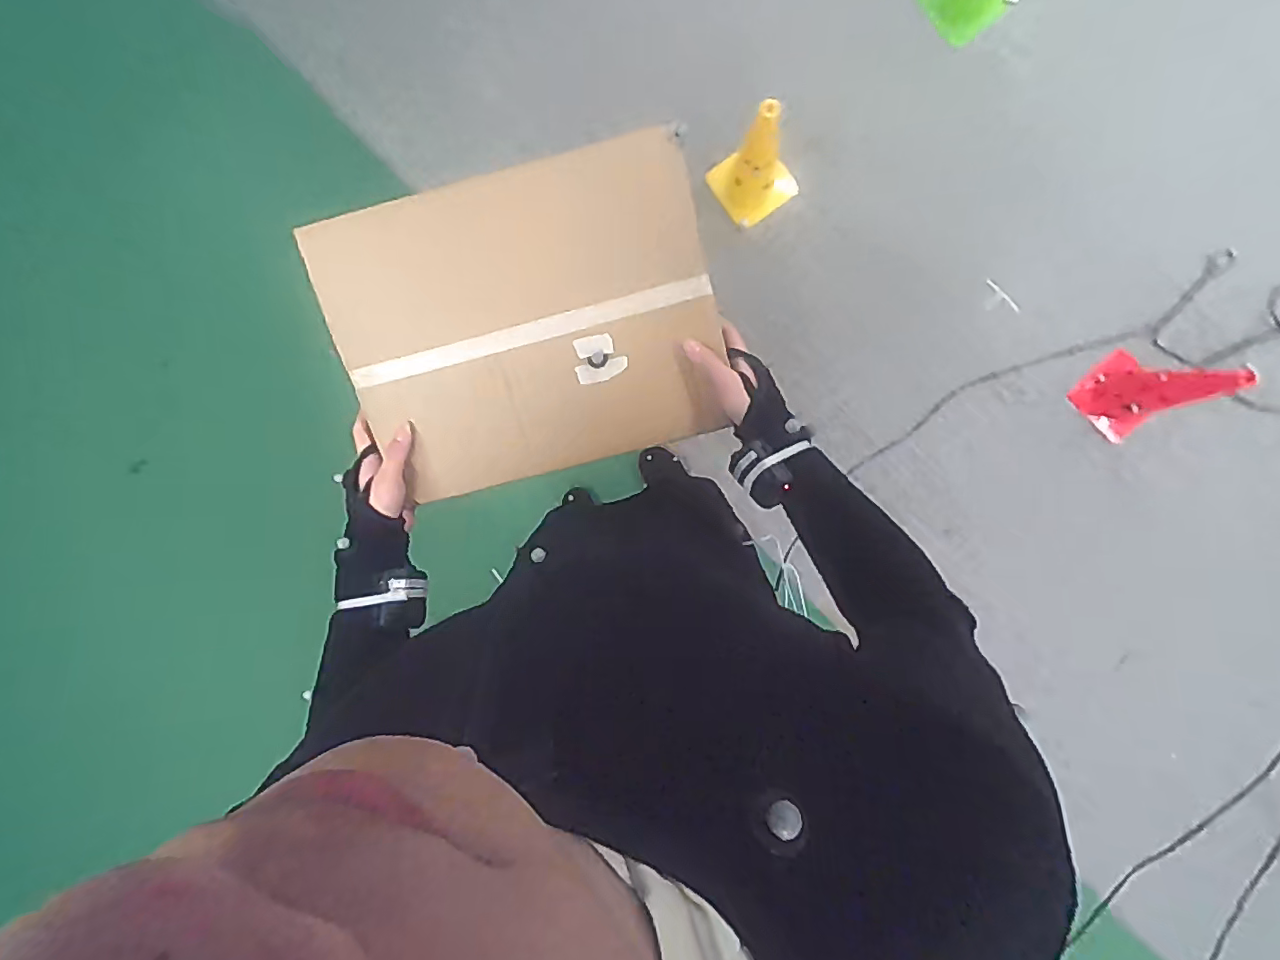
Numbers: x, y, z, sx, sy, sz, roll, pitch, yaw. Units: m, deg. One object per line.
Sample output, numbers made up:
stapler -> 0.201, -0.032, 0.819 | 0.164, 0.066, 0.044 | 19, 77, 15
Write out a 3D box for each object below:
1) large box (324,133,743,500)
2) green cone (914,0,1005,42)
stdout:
large box -> -0.111, -0.201, 0.738 | 0.408, 0.320, 0.320 | -13, 106, 2
green cone -> 0.867, -1.335, 1.323 | 0.202, 0.368, 0.200 | -39, 90, 7
